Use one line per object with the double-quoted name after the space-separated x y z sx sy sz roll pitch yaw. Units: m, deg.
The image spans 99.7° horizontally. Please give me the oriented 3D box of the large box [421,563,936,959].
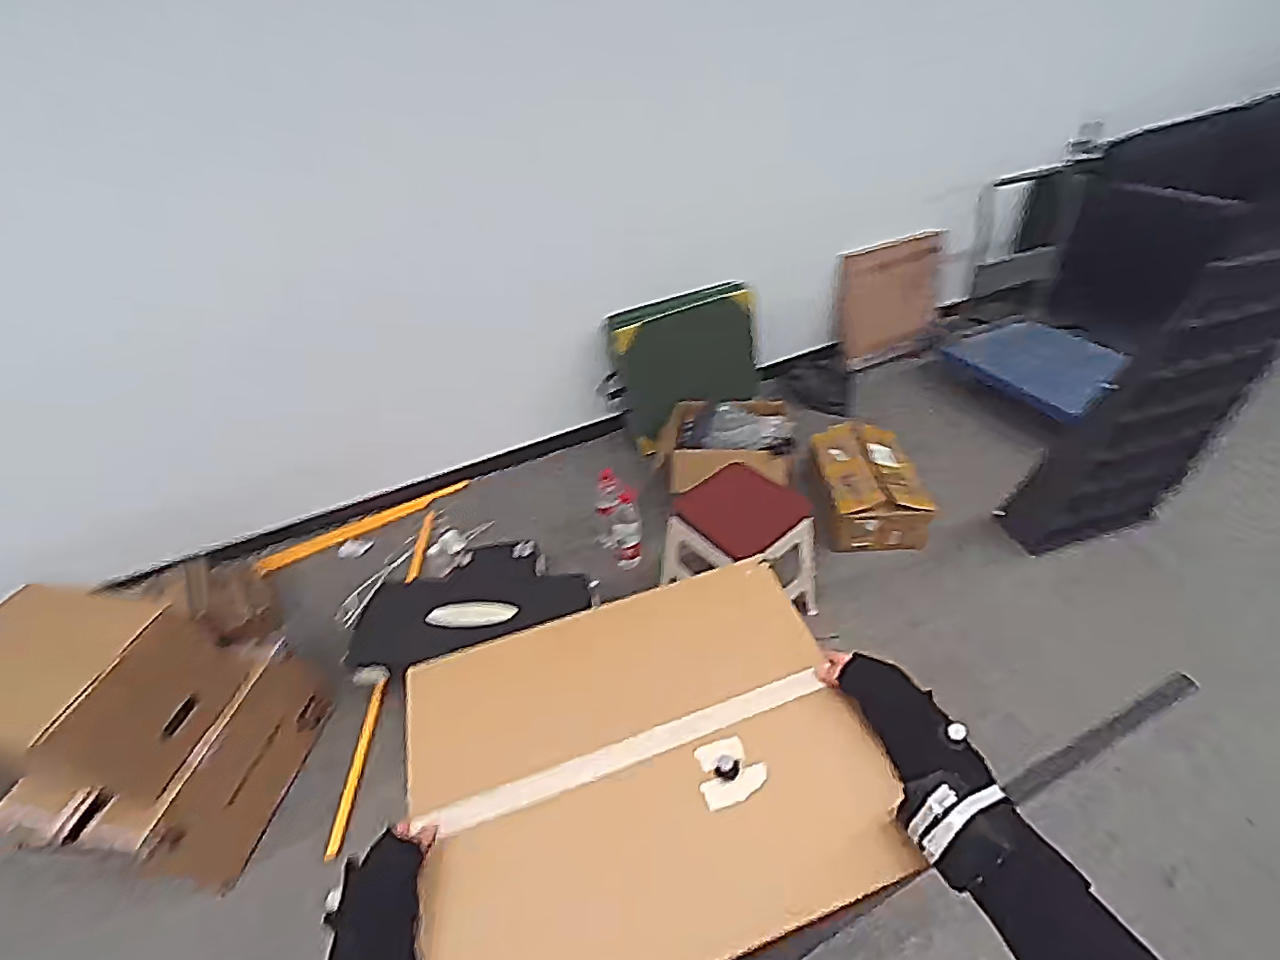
0.014 0.356 0.599 0.408 0.320 0.320 -16 45 -11 "large box"
